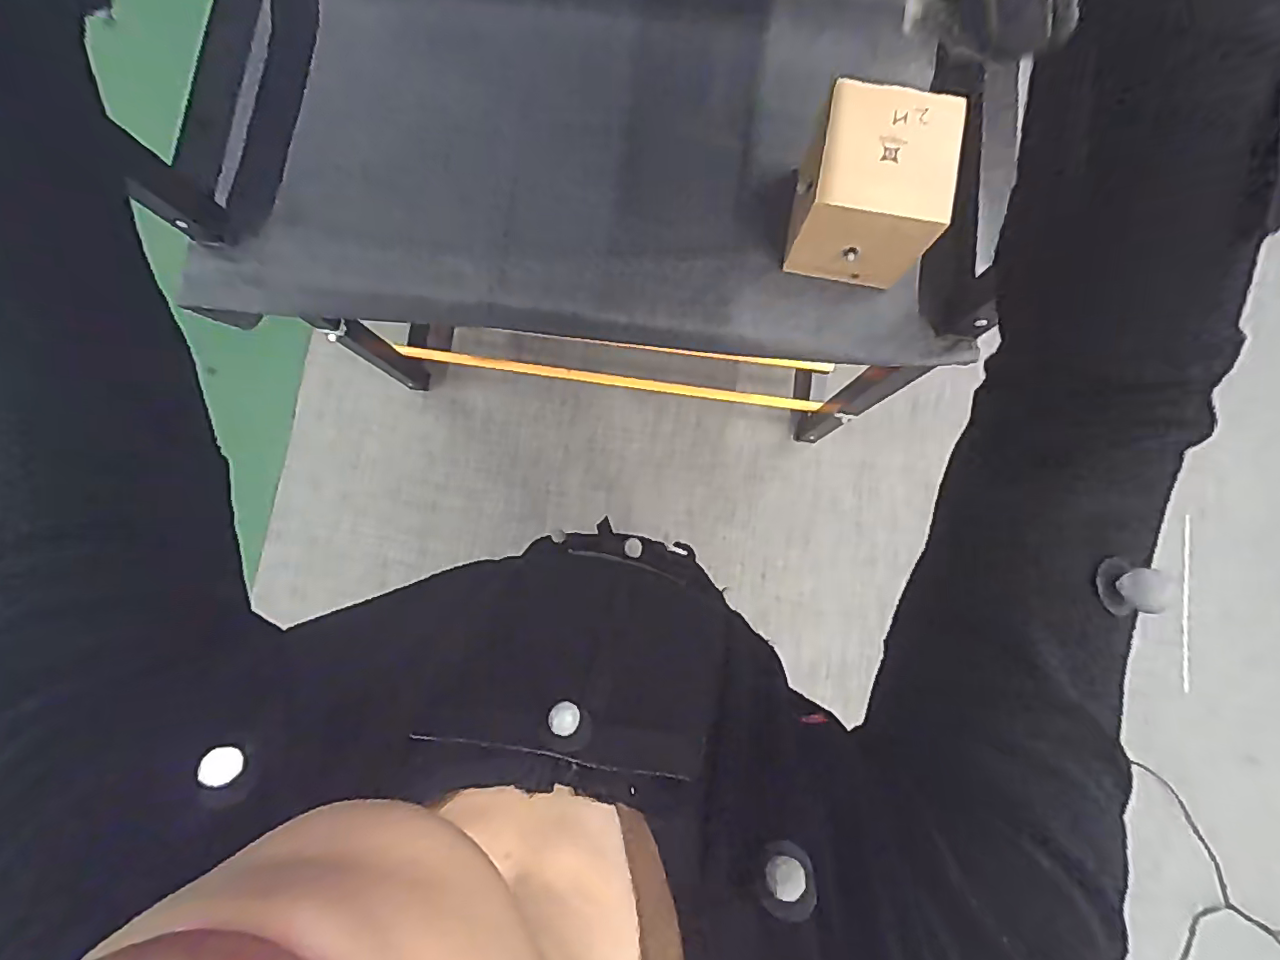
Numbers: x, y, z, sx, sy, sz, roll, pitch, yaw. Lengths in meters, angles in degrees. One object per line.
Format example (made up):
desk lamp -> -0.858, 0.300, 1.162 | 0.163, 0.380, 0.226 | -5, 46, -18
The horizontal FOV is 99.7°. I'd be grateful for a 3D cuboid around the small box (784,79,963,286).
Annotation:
small box -> 0.306, -0.394, 0.745 | 0.168, 0.176, 0.179 | 11, 82, 2
